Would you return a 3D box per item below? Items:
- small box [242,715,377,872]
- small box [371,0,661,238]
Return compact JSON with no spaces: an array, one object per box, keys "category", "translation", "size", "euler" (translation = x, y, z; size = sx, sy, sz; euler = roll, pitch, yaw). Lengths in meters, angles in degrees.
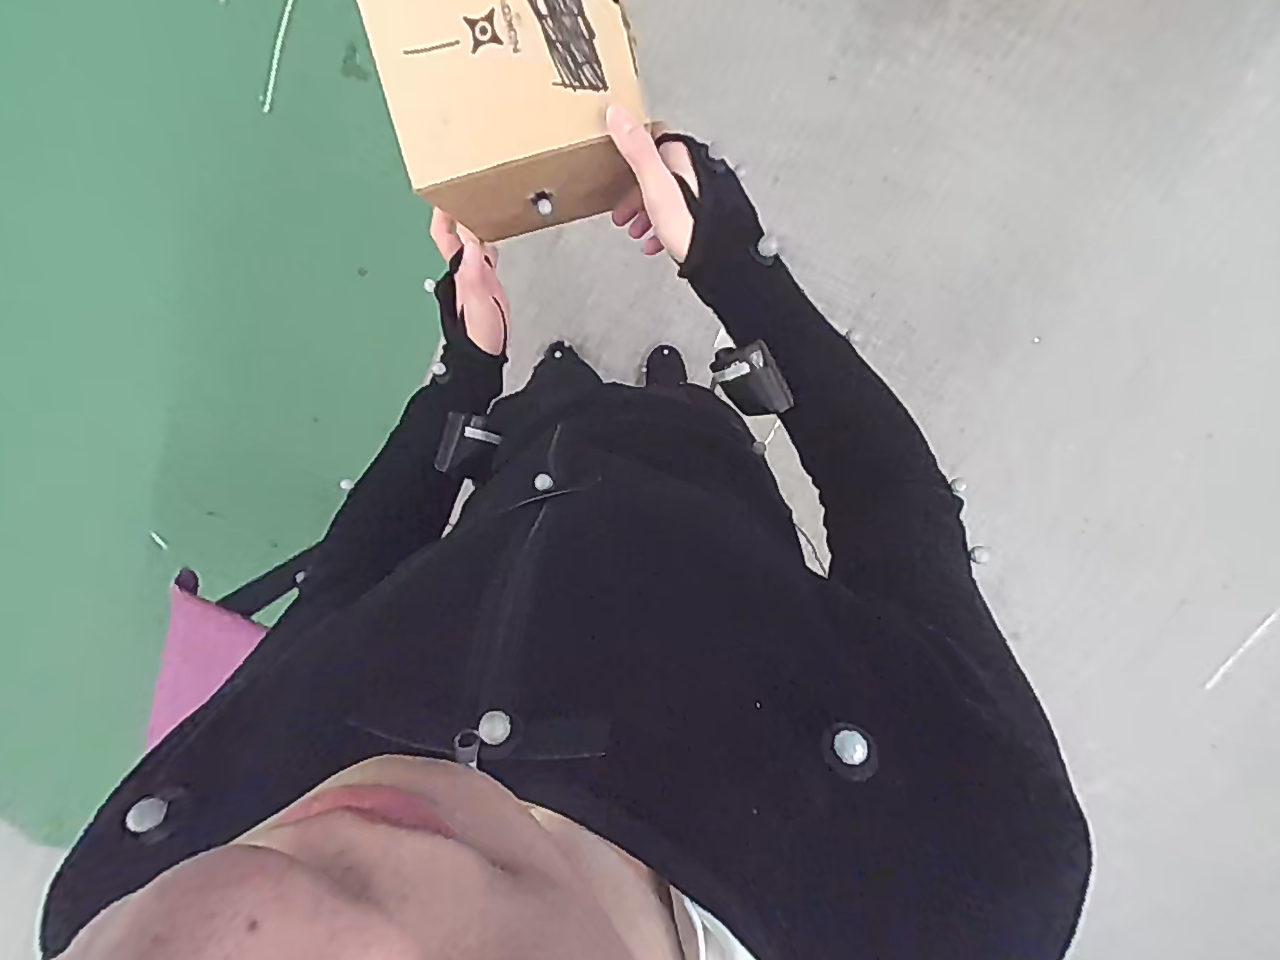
[{"category":"small box","translation":[-0.652,0.597,1.047],"size":[0.179,0.176,0.168],"euler":[35,107,-5]},{"category":"small box","translation":[-0.083,-0.315,0.438],"size":[0.179,0.176,0.168],"euler":[-11,101,5]}]
